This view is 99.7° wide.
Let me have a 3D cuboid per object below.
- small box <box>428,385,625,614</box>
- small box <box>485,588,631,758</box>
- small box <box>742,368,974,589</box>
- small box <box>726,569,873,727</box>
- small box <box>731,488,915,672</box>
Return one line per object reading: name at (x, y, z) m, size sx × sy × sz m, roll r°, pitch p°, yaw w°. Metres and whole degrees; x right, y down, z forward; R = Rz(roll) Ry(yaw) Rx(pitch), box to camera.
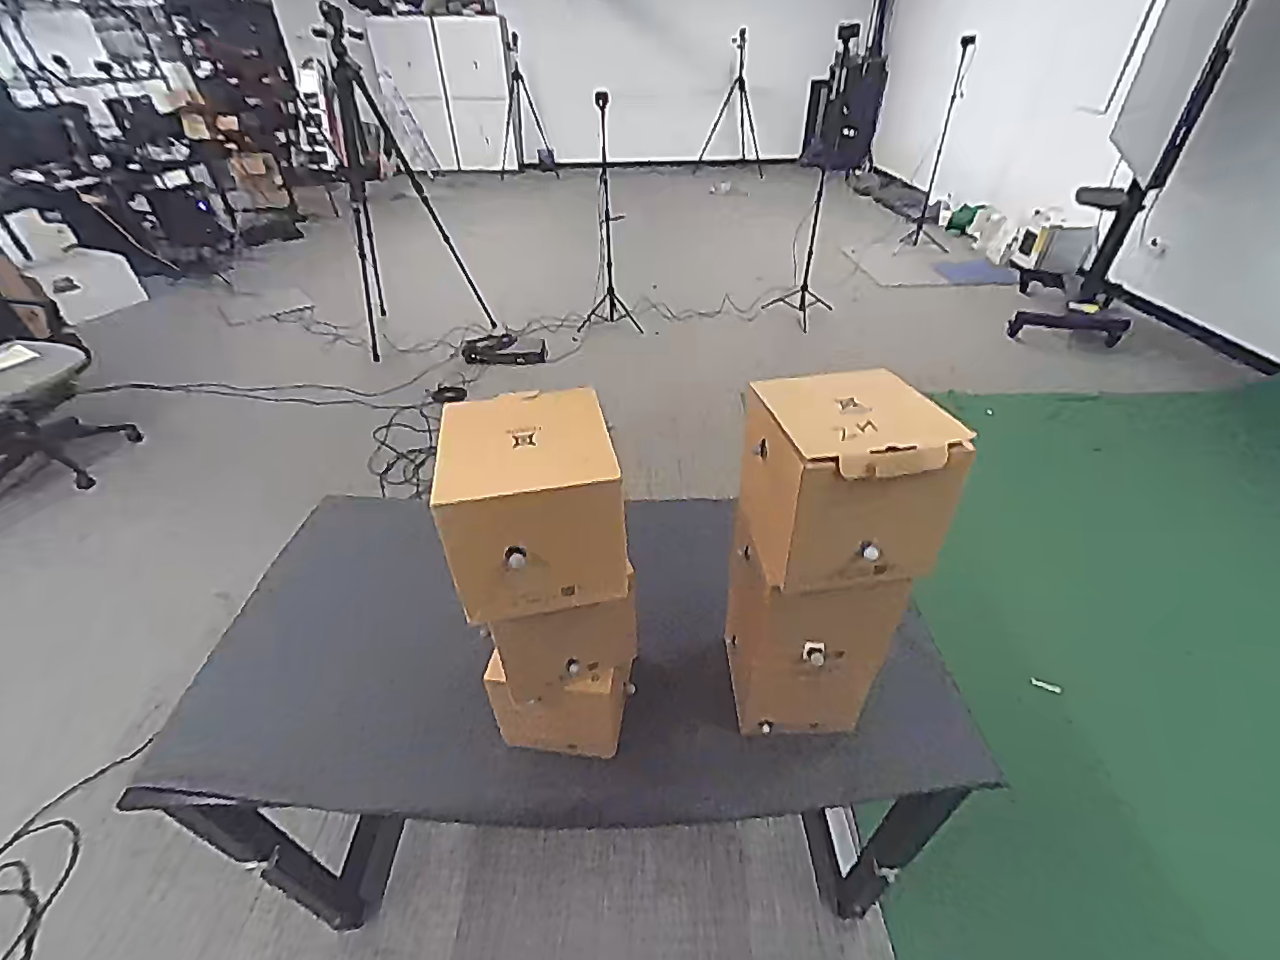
small box at (-0.113, 0.023, 0.573) m, size 0.168 × 0.176 × 0.179 m, roll -9°, pitch 39°, yaw -10°
small box at (-0.106, 0.270, 0.789) m, size 0.168 × 0.176 × 0.179 m, roll 4°, pitch 37°, yaw 7°
small box at (0.216, -0.006, 0.597) m, size 0.168 × 0.176 × 0.179 m, roll -7°, pitch 37°, yaw -4°
small box at (0.222, 0.249, 0.804) m, size 0.168 × 0.176 × 0.179 m, roll -2°, pitch 36°, yaw 0°
small box at (0.218, 0.122, 0.703) m, size 0.168 × 0.176 × 0.179 m, roll -5°, pitch 38°, yaw -2°
